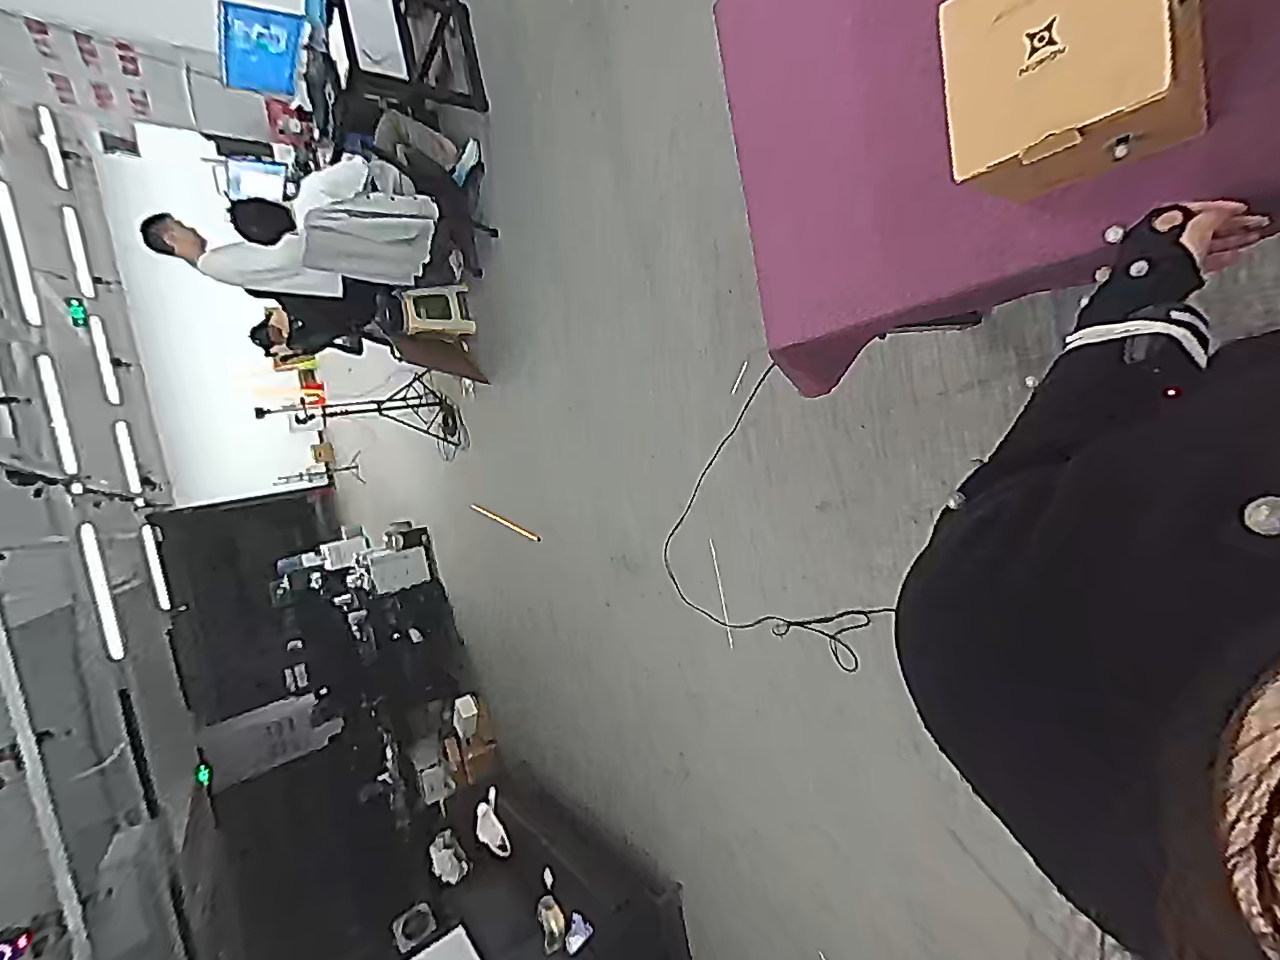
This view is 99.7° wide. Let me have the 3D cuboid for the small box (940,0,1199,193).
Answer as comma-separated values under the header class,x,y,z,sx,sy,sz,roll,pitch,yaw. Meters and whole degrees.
class,x,y,z,sx,sy,sz,roll,pitch,yaw
small box,0.429,-0.410,0.541,0.168,0.176,0.179,-1,99,53
